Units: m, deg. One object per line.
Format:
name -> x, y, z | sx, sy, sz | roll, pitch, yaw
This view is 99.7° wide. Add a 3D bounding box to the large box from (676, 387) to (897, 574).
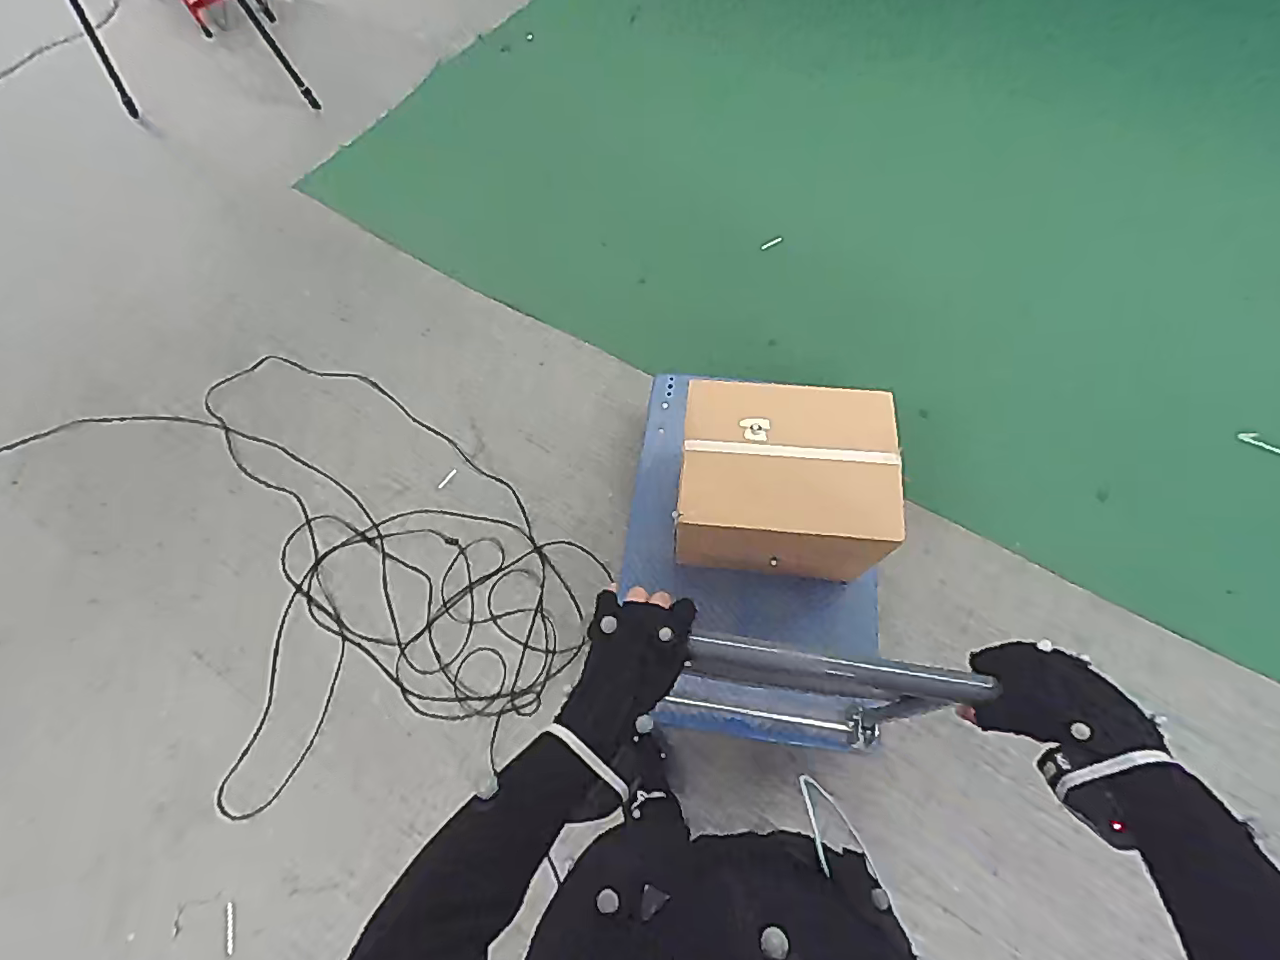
large box -> 0.289, 0.014, 1.182 | 0.408, 0.320, 0.320 | 3, 66, 6
